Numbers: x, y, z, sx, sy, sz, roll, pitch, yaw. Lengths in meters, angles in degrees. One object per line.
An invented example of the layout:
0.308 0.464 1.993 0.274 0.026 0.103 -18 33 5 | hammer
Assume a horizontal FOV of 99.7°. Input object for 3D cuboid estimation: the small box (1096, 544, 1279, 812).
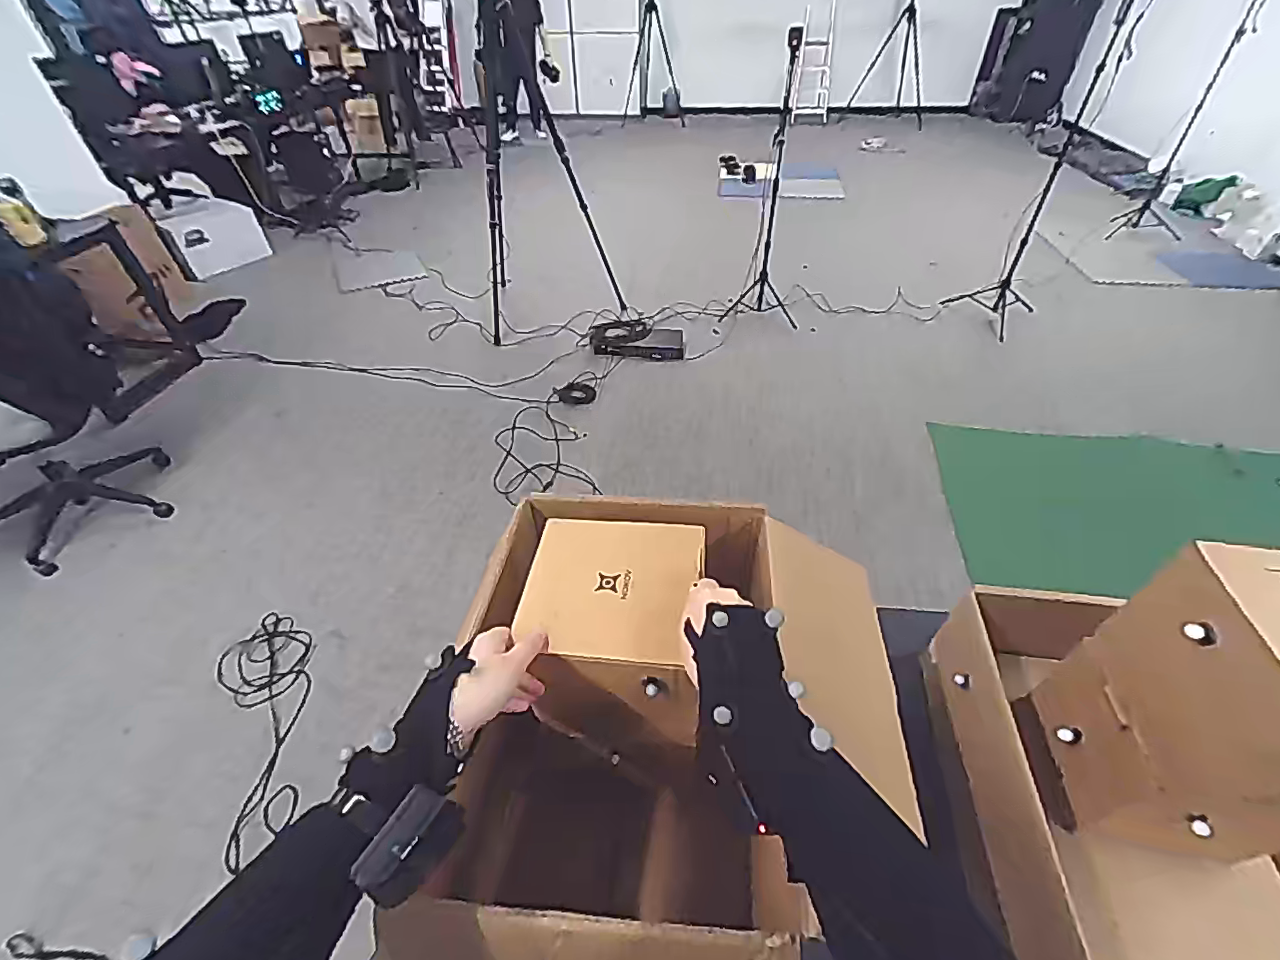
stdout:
0.584 0.185 0.502 0.168 0.176 0.179 5 45 8 | small box
